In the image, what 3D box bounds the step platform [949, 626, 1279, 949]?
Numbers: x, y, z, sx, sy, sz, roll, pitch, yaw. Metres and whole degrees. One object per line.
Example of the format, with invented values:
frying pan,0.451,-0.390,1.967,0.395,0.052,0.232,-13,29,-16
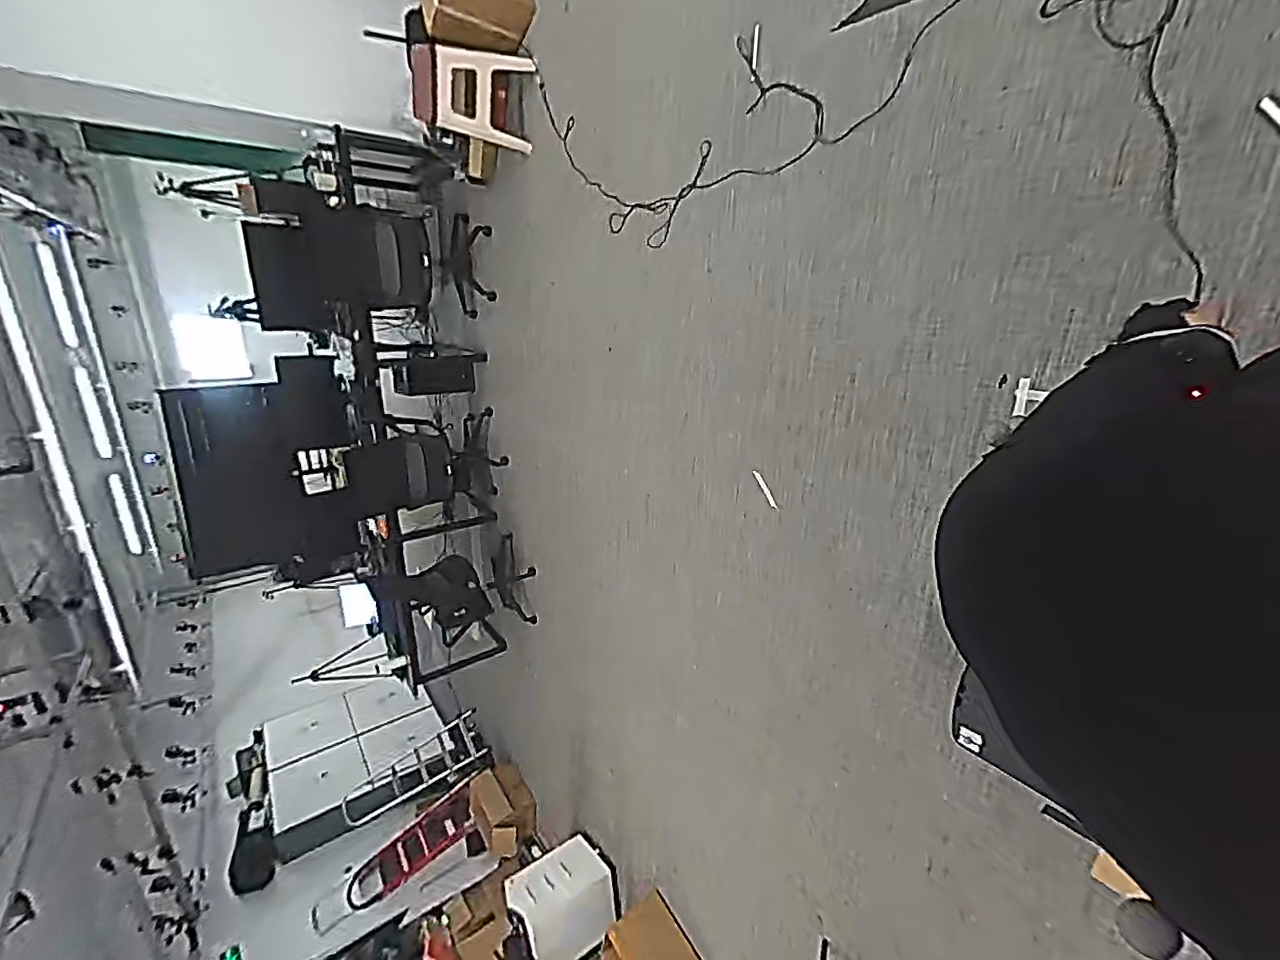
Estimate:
step platform,1.003,0.583,1.074,0.684,0.204,0.286,23,119,48
